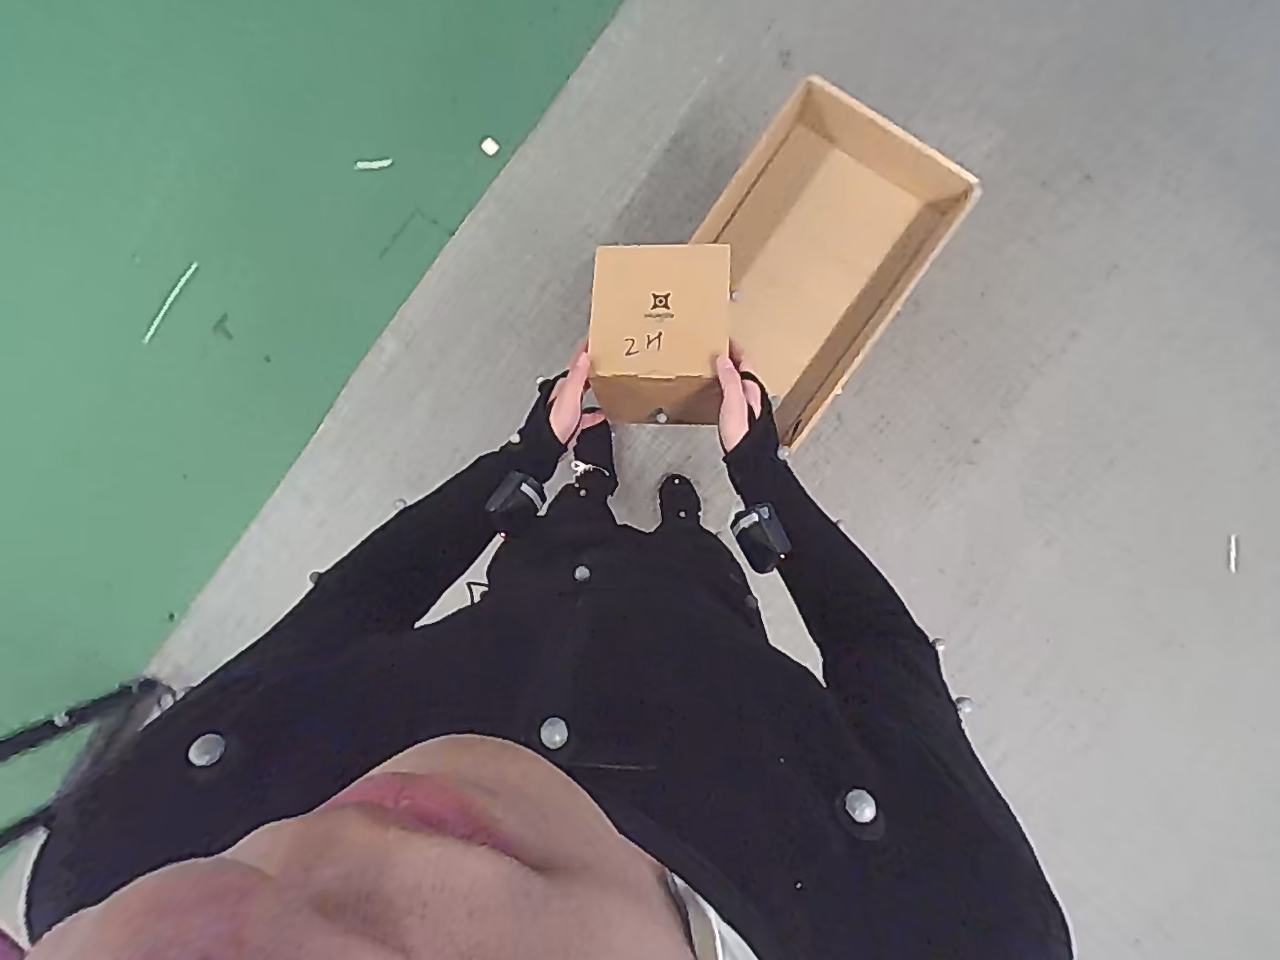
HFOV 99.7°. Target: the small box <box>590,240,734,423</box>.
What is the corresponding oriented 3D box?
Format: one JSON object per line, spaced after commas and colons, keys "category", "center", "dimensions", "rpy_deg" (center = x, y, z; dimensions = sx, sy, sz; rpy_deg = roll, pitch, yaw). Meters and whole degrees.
{"category": "small box", "center": [0.034, -0.186, 0.710], "dimensions": [0.168, 0.176, 0.179], "rpy_deg": [1, 77, 6]}
